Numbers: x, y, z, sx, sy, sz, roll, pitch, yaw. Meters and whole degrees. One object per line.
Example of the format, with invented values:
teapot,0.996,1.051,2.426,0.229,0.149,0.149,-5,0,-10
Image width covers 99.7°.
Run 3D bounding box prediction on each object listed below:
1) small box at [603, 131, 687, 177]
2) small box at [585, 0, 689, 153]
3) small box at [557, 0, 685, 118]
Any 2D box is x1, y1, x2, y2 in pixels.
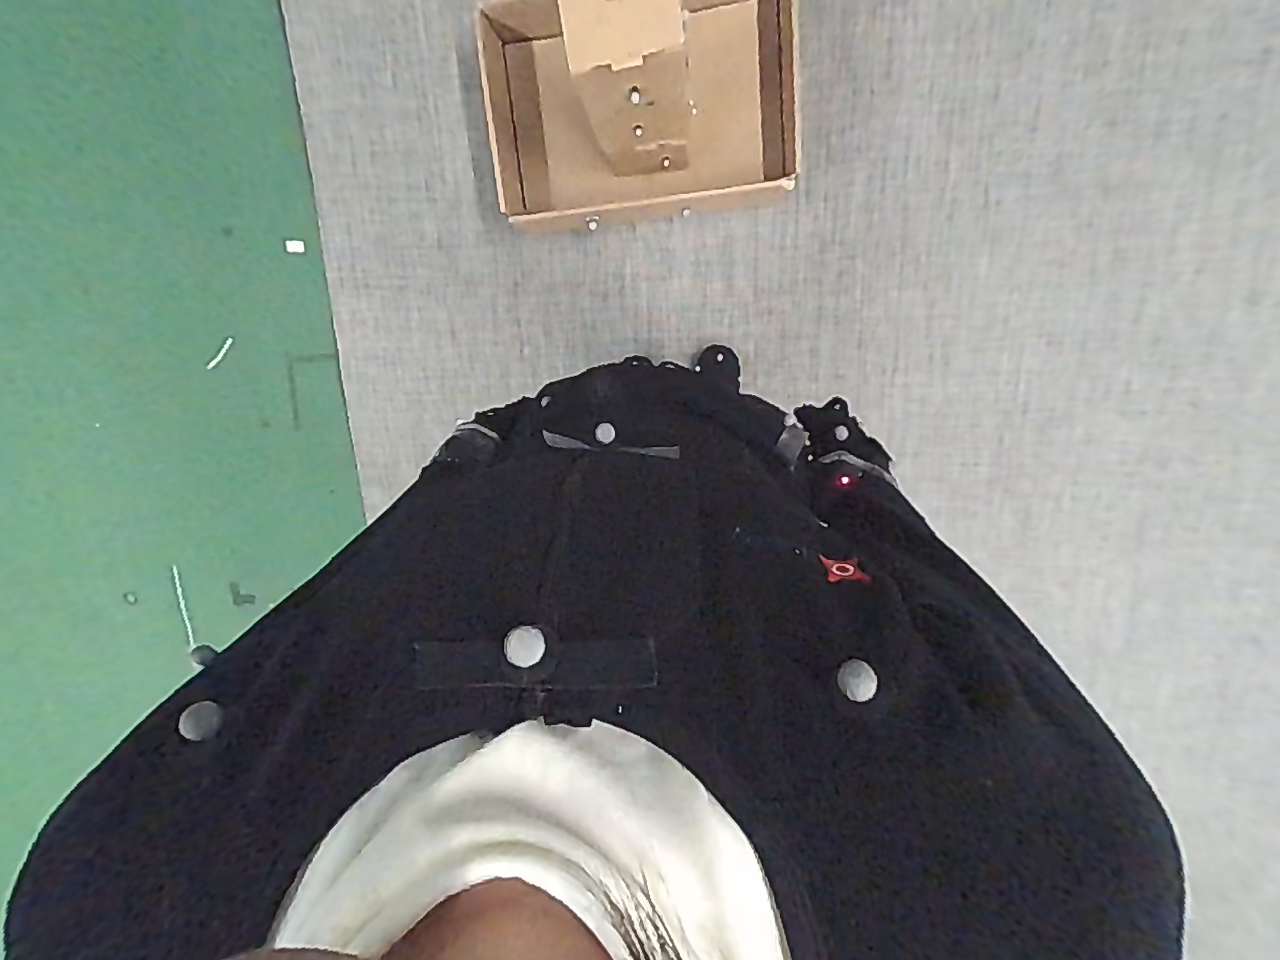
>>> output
small box,0.012,-0.749,1.124,0.168,0.176,0.179,-2,102,6
small box,-0.004,-0.710,0.966,0.179,0.176,0.168,-3,103,8
small box,-0.023,-0.673,0.808,0.168,0.176,0.179,-6,103,8
